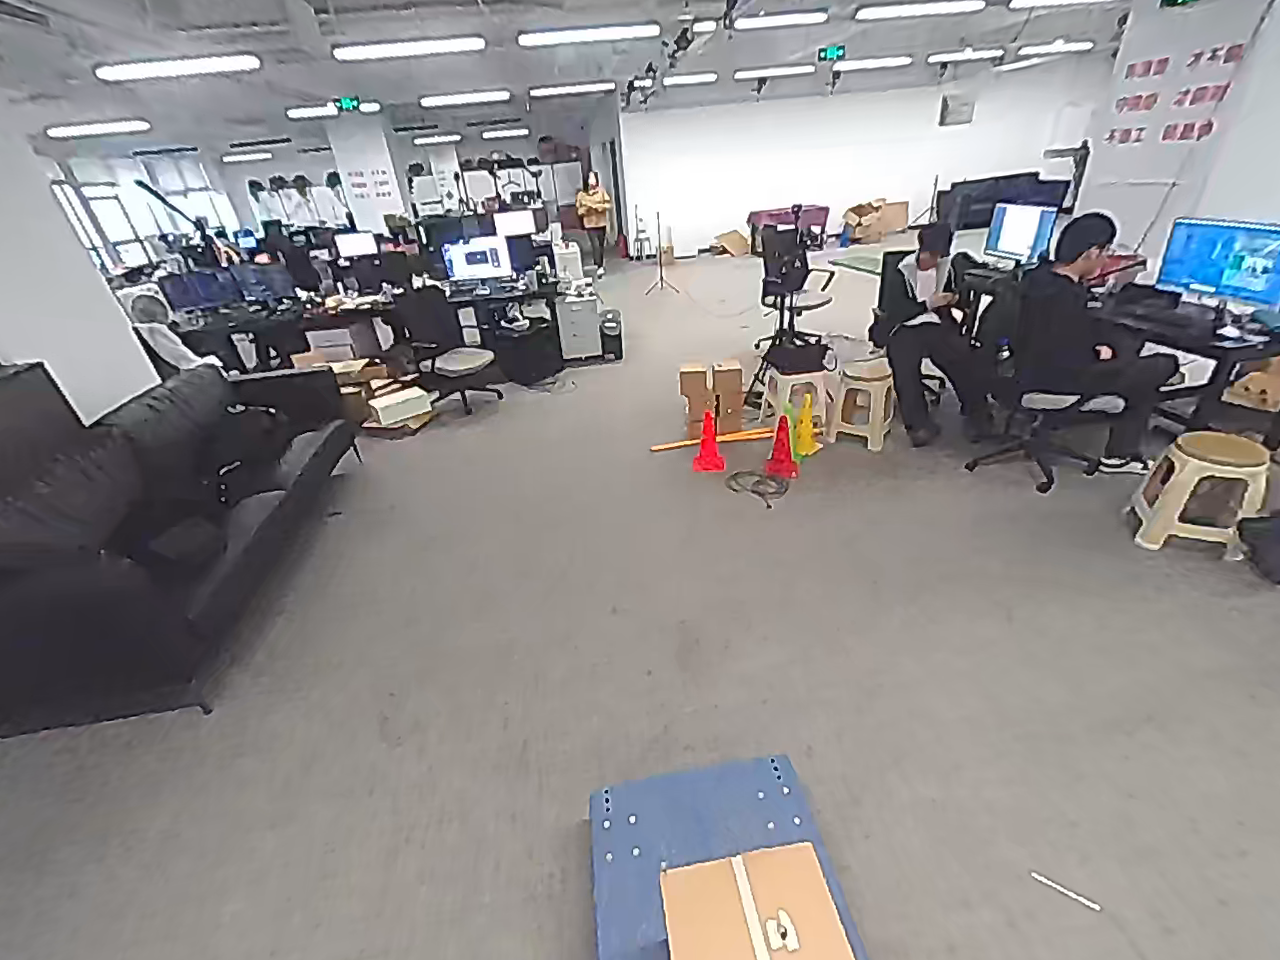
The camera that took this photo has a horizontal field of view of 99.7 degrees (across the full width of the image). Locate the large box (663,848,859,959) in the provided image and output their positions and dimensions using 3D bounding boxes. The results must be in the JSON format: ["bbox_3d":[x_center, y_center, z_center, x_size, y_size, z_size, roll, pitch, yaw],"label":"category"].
[{"bbox_3d":[0.239,0.972,0.958,0.320,0.320,0.408,-8,29,-4],"label":"large box"}]
